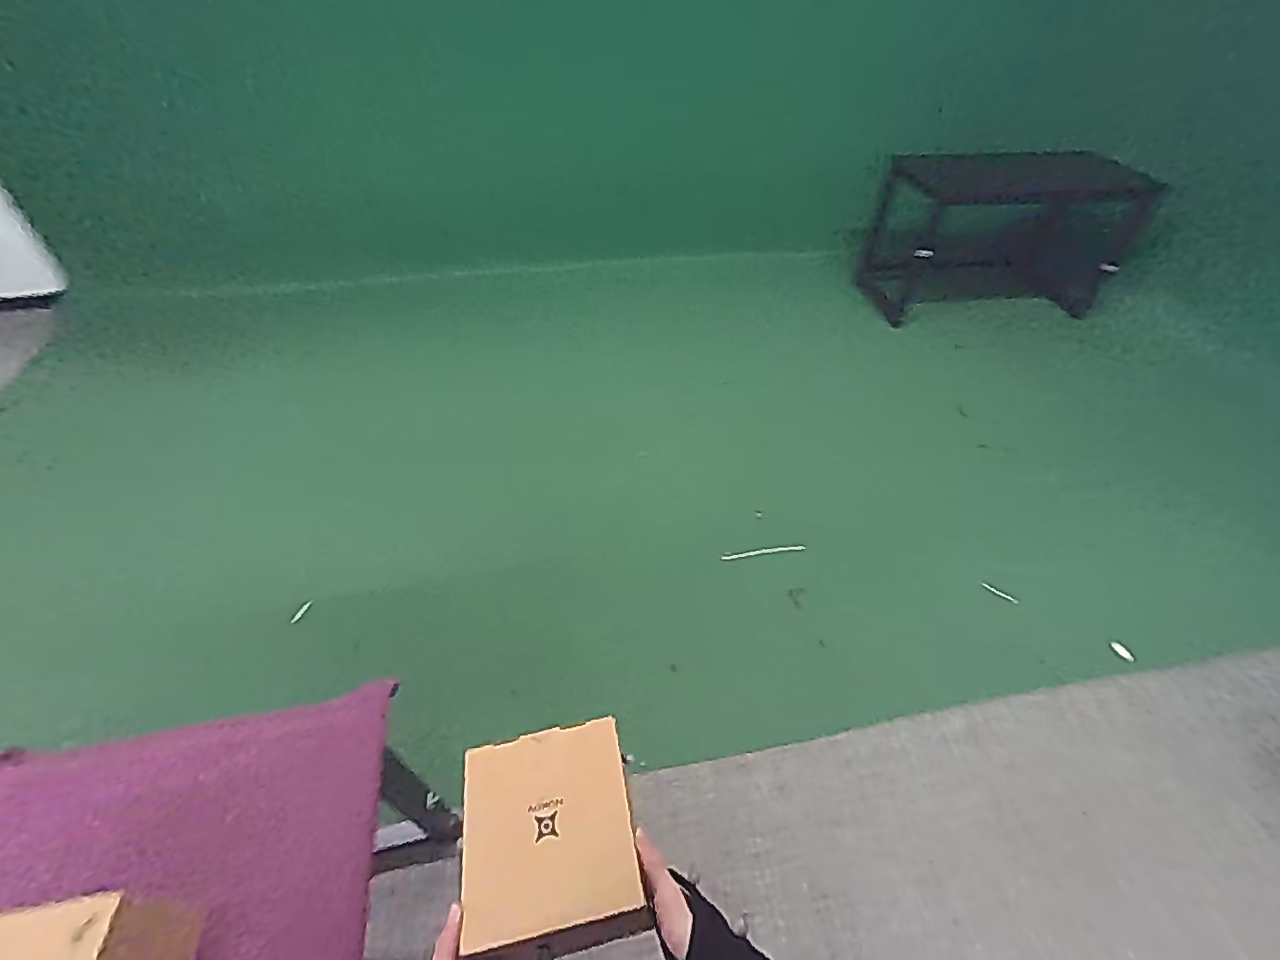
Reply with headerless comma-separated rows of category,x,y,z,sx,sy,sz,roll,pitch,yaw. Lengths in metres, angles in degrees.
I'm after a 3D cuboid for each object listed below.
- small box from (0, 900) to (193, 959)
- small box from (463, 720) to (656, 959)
small box,-0.634,0.565,0.563,0.179,0.176,0.168,-7,48,-7
small box,-0.080,0.390,0.577,0.168,0.176,0.179,-10,45,-6
